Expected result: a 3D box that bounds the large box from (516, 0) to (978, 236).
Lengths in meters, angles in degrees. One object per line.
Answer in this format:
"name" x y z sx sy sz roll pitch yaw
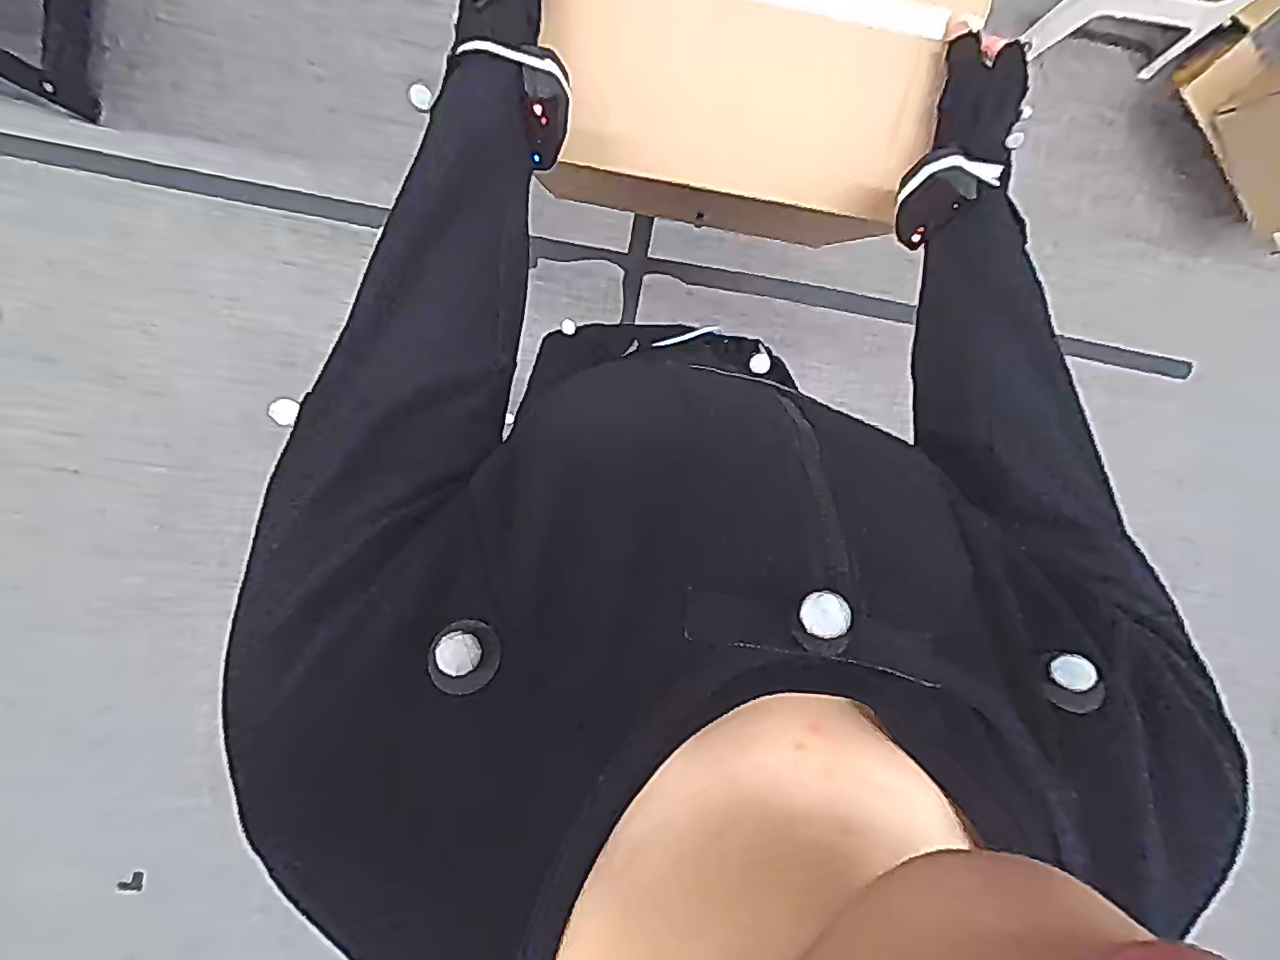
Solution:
"large box" 0.099 -0.481 0.616 0.408 0.320 0.320 9 109 -5
